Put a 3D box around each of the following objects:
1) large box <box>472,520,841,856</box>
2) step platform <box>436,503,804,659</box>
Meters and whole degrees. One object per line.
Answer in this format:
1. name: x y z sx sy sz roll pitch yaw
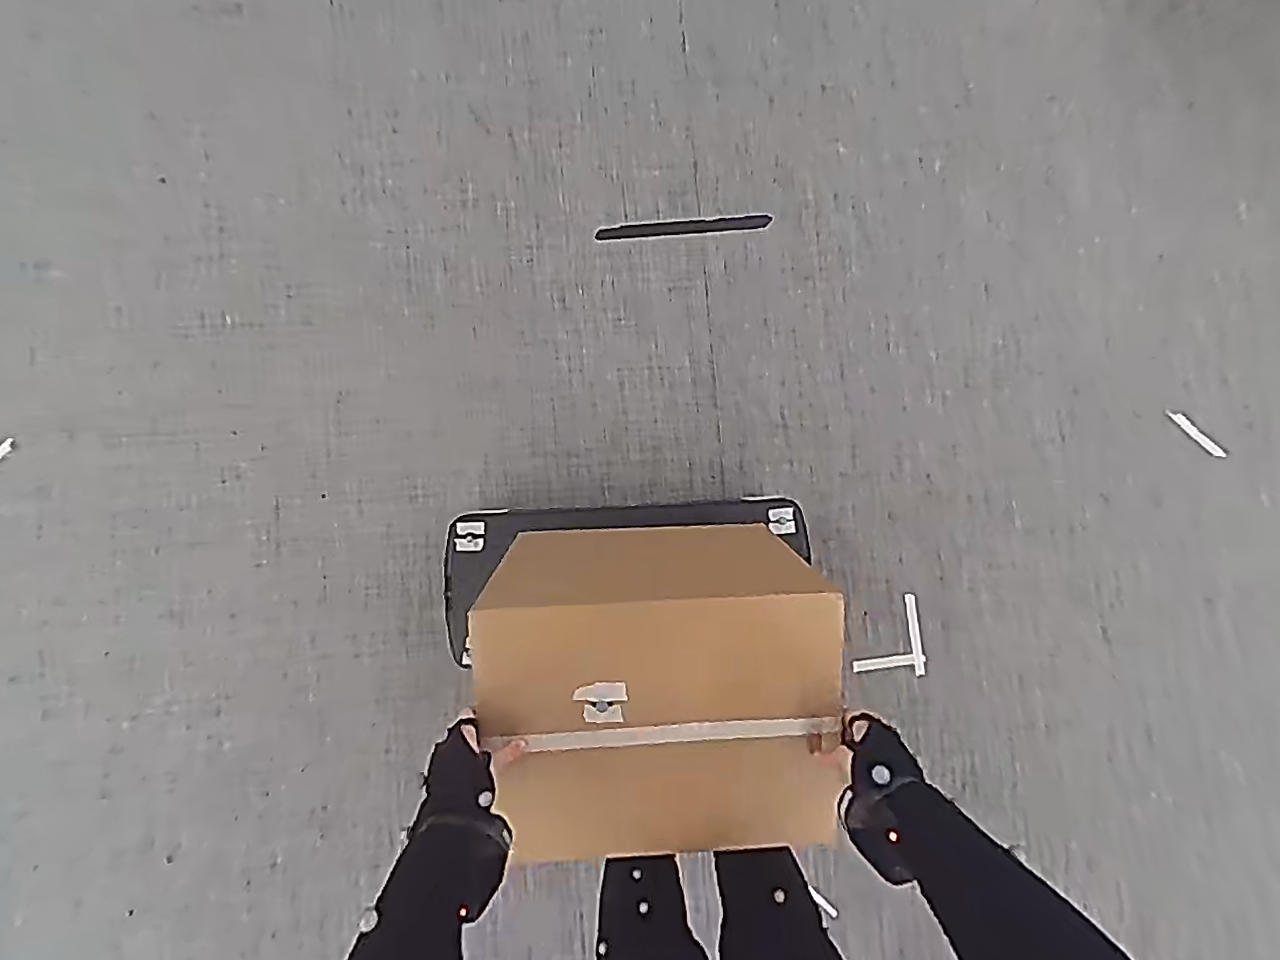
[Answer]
1. large box: 0.024 0.247 0.746 0.408 0.320 0.320 -3 98 -1
2. step platform: -0.032 0.196 1.048 0.684 0.204 0.286 2 87 -1
